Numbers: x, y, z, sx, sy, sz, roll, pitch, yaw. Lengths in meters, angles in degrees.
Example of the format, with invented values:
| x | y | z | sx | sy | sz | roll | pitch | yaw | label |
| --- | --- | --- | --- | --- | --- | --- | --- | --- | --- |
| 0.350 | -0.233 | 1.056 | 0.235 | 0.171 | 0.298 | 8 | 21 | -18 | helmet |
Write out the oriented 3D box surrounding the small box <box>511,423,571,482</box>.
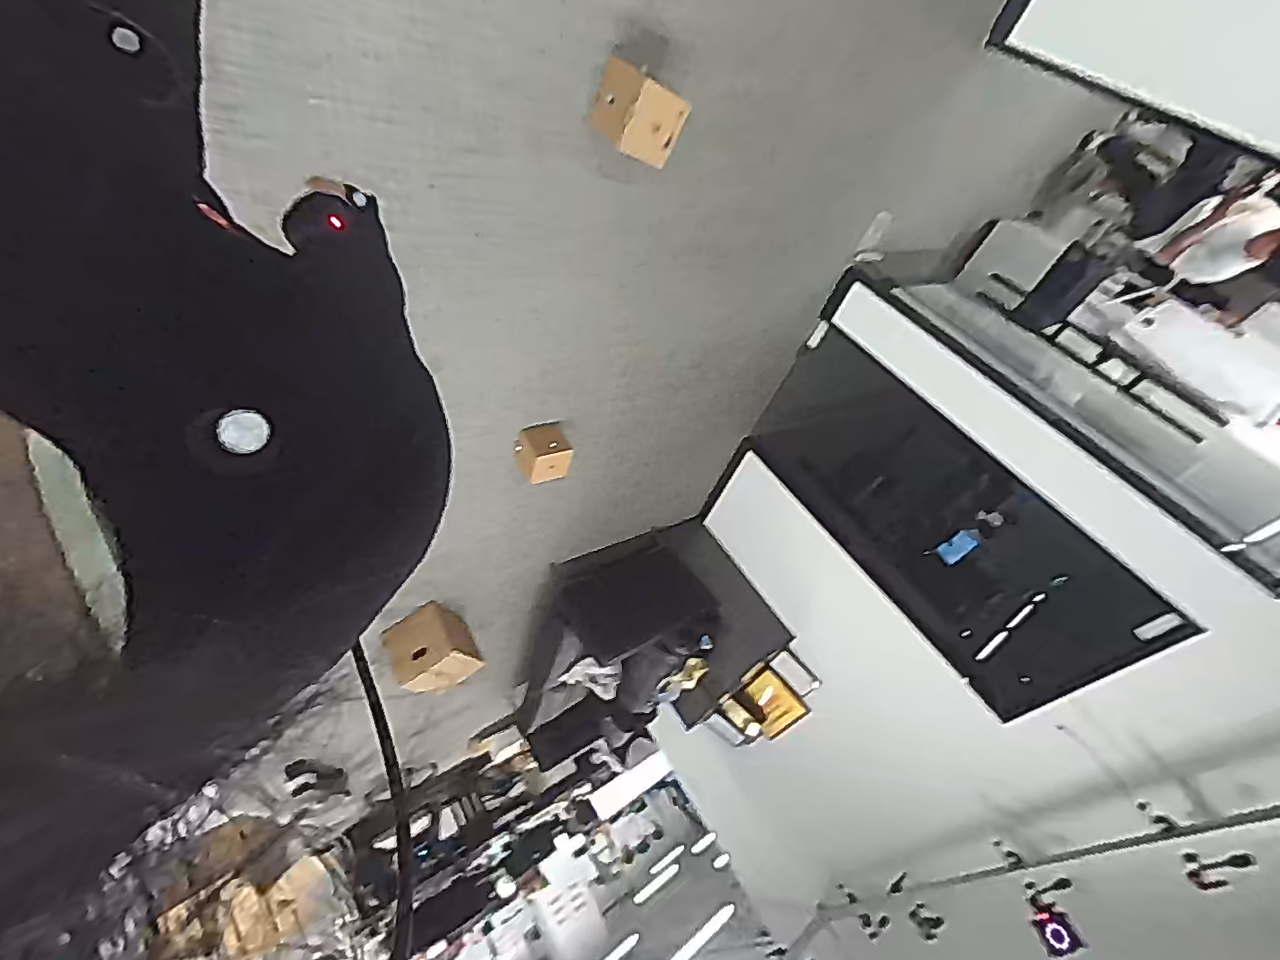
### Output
| x | y | z | sx | sy | sz | roll | pitch | yaw | label |
| --- | --- | --- | --- | --- | --- | --- | --- | --- | --- |
| -0.426 | -0.124 | 2.303 | 0.179 | 0.176 | 0.168 | -16 | 146 | -35 | small box |

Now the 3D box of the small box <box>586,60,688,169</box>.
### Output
| x | y | z | sx | sy | sz | roll | pitch | yaw | label |
| --- | --- | --- | --- | --- | --- | --- | --- | --- | --- |
| -0.014 | -0.965 | 1.425 | 0.179 | 0.176 | 0.168 | -7 | 141 | -45 | small box |
